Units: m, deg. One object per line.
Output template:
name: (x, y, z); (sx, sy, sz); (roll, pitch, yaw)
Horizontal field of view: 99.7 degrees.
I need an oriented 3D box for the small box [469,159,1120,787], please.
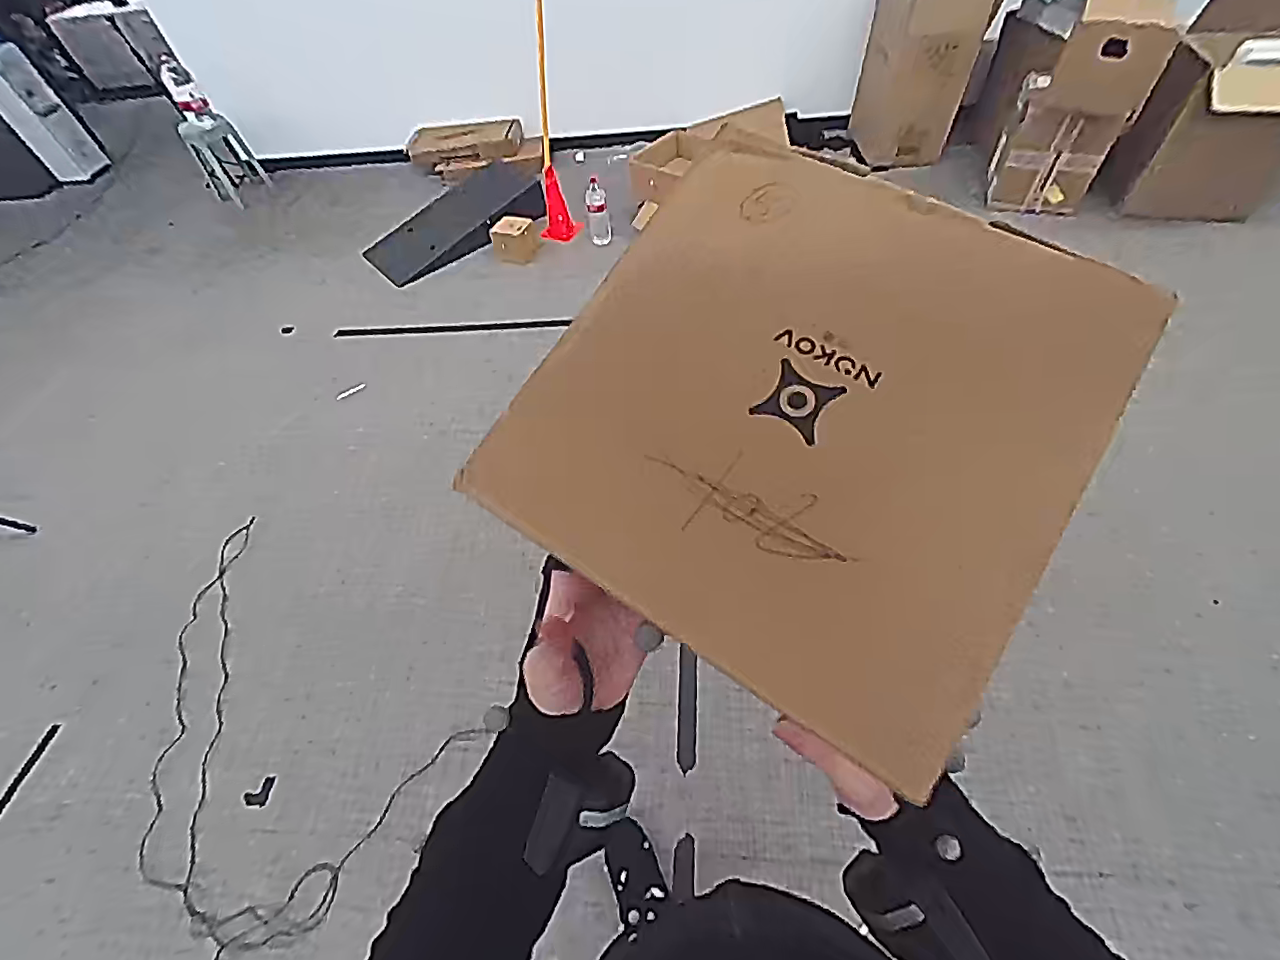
small box: (0.060, 0.000, 0.263); (0.168, 0.176, 0.179); (30, 80, 16)
